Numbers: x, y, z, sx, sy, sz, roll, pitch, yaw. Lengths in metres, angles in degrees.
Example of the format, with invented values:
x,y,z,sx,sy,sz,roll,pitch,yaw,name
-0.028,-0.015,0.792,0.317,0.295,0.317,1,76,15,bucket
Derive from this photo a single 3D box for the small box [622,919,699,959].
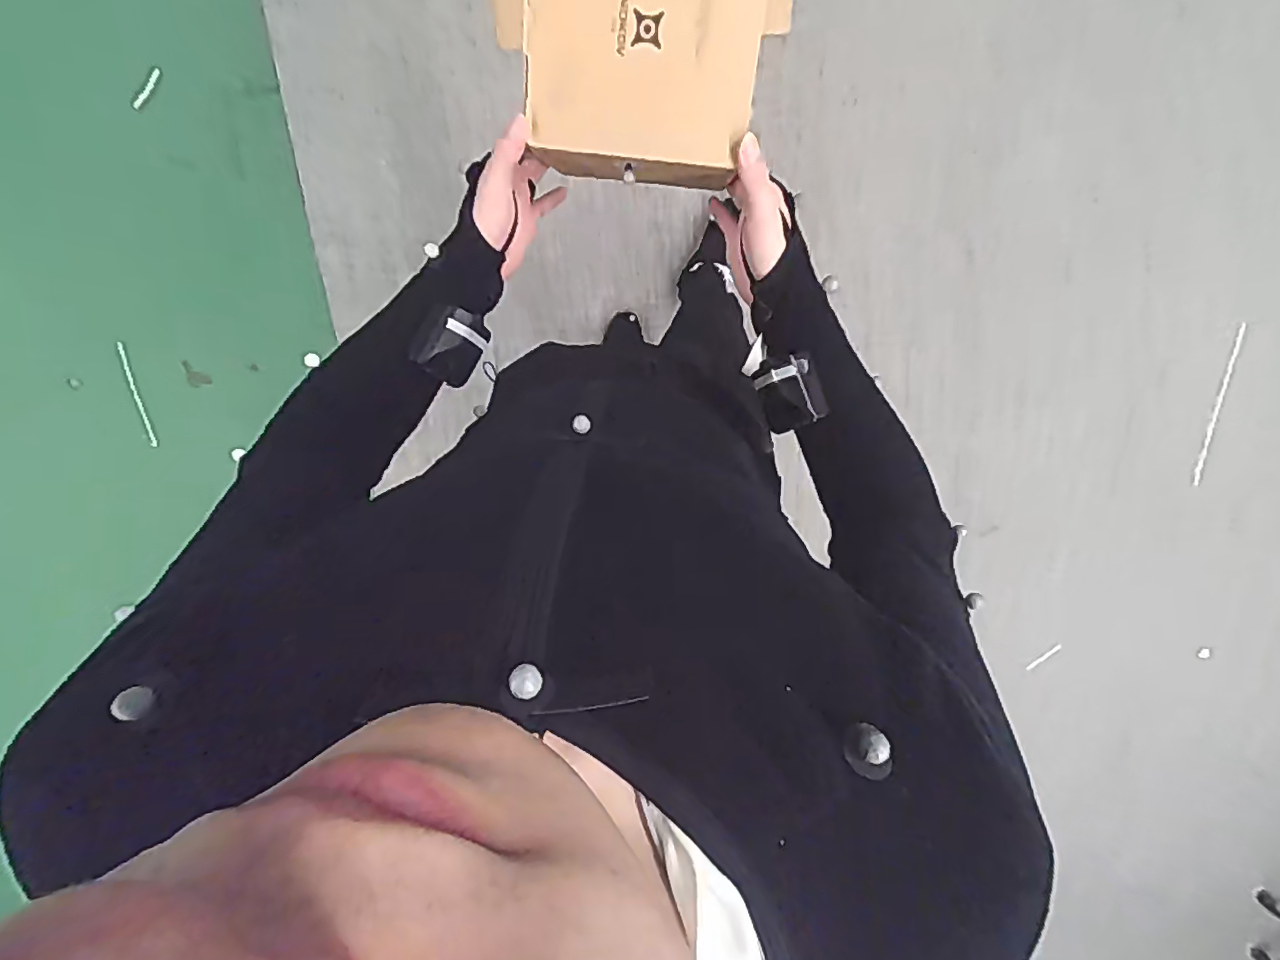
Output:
x,y,z,sx,sy,sz,roll,pitch,yaw,name
0.050,1.146,1.232,0.179,0.176,0.168,-5,109,3,small box

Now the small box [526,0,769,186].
x,y,z,sx,sy,sz,roll,pitch,yaw,name
0.009,-0.362,0.469,0.179,0.176,0.168,6,113,0,small box
